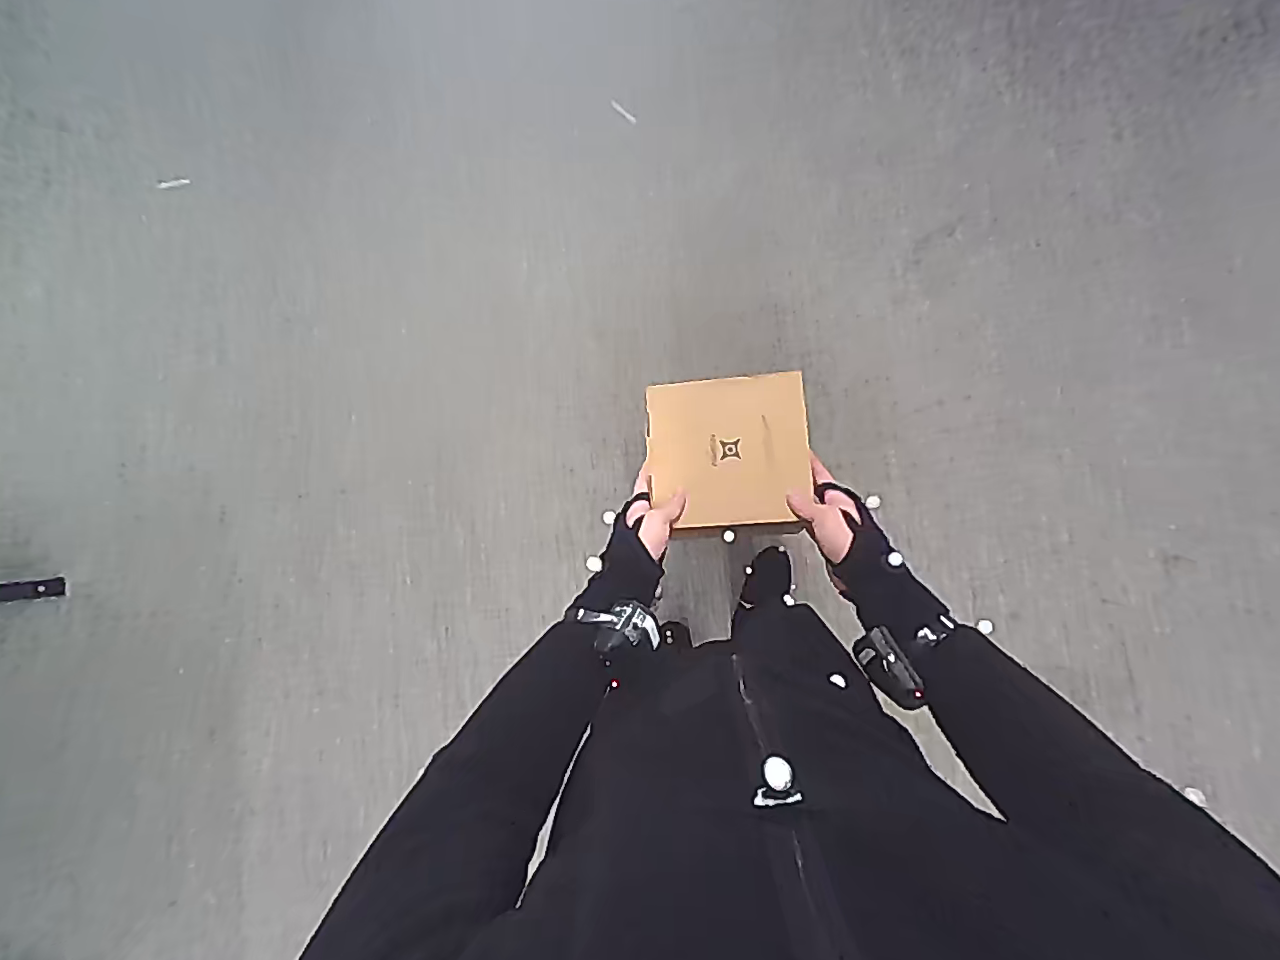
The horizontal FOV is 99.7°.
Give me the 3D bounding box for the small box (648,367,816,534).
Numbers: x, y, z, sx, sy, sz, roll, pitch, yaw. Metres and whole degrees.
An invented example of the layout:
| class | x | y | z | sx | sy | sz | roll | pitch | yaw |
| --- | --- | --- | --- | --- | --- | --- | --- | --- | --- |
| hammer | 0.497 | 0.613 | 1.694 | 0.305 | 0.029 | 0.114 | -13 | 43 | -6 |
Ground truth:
| class | x | y | z | sx | sy | sz | roll | pitch | yaw |
| --- | --- | --- | --- | --- | --- | --- | --- | --- | --- |
| small box | 0.112 | -0.025 | 0.673 | 0.179 | 0.176 | 0.168 | -5 | 79 | 9 |
